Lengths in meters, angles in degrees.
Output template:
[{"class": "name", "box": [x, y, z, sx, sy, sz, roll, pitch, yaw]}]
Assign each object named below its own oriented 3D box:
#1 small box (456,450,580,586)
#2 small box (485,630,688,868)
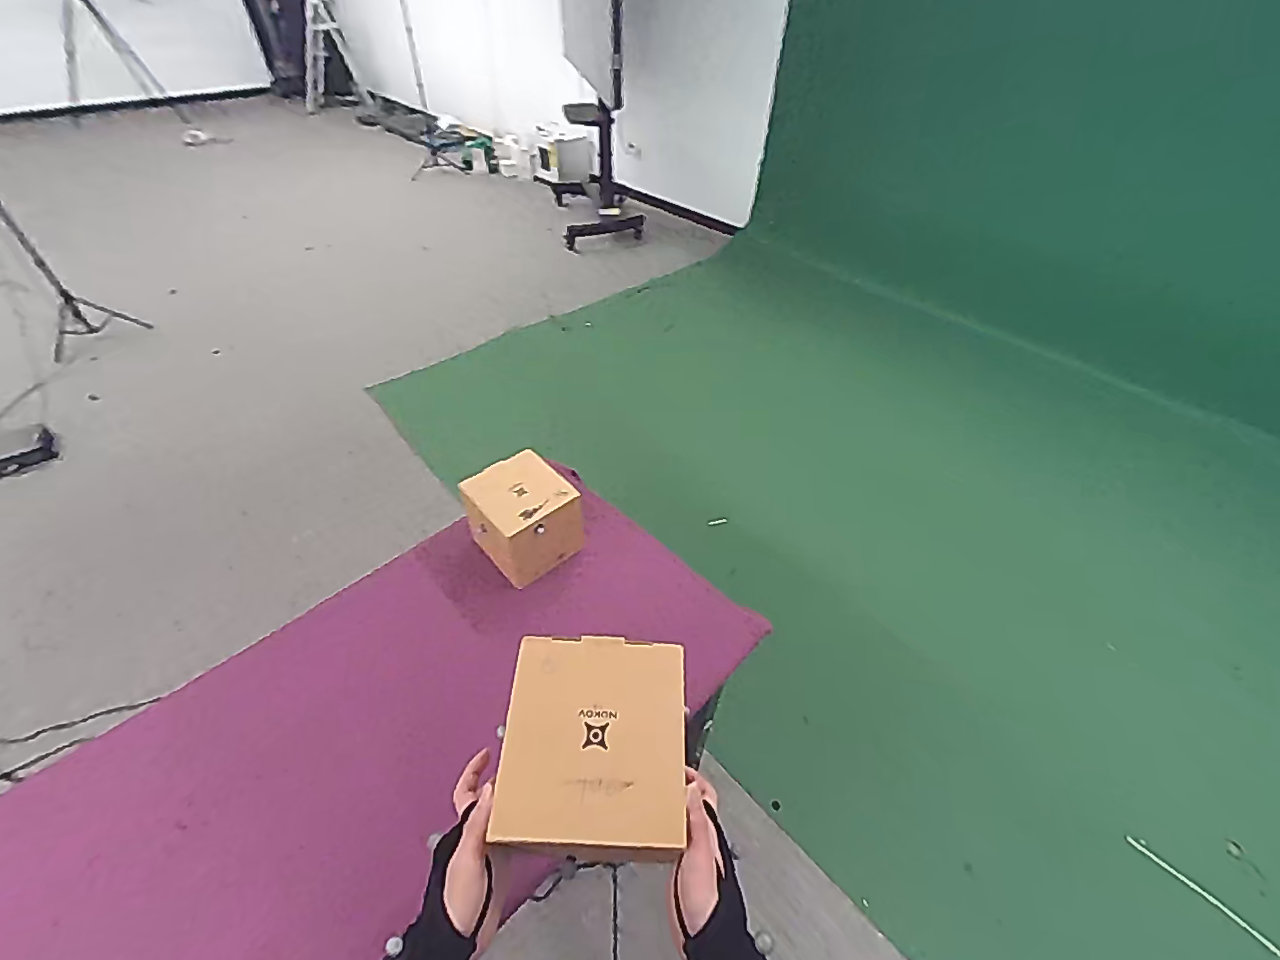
[{"class": "small box", "box": [-0.237, 0.076, 1.078, 0.168, 0.176, 0.179, -33, 54, -29]}, {"class": "small box", "box": [-0.044, 0.273, 0.545, 0.168, 0.176, 0.179, 4, 51, -1]}]
